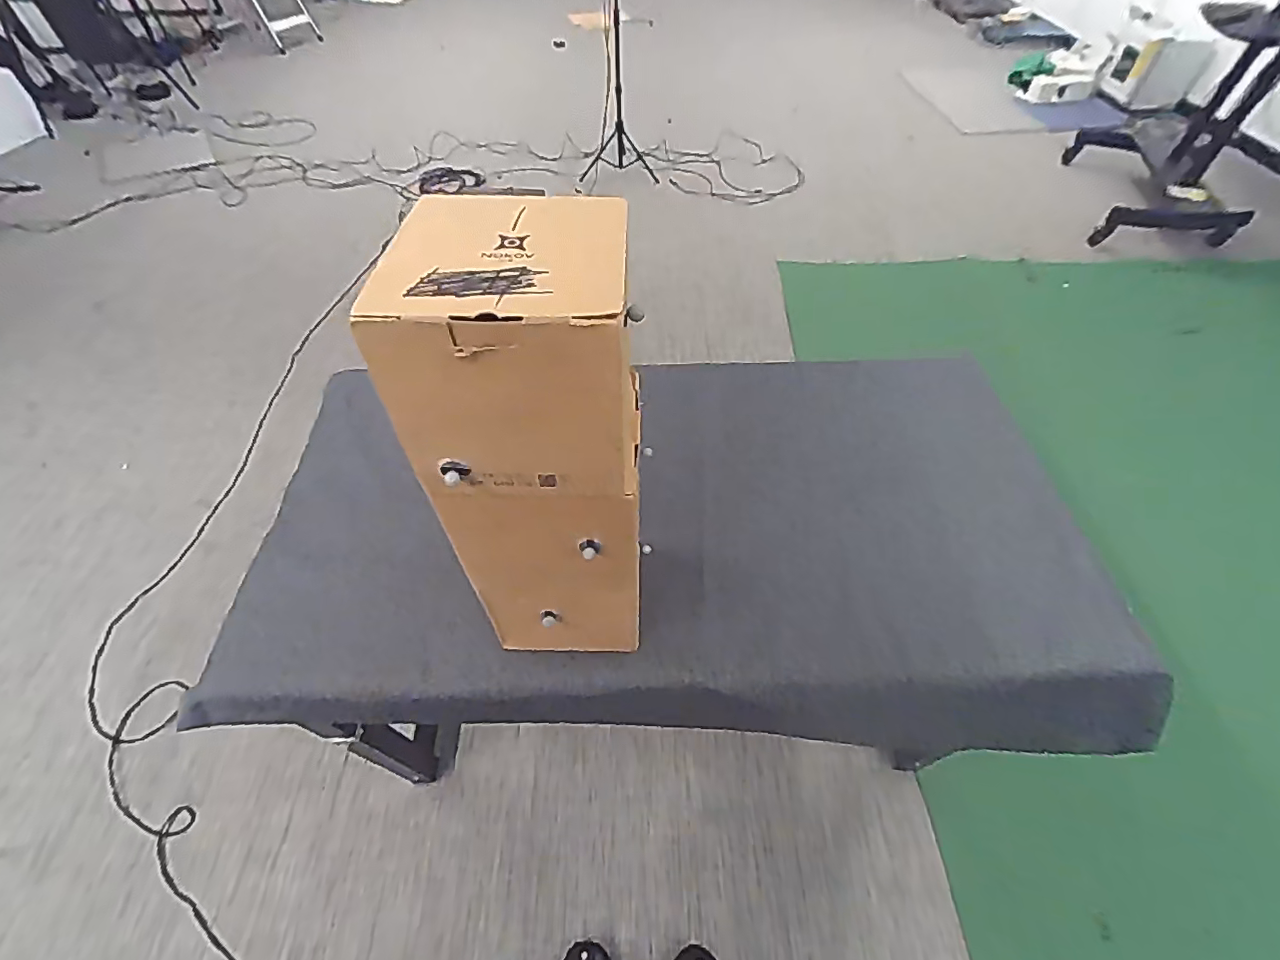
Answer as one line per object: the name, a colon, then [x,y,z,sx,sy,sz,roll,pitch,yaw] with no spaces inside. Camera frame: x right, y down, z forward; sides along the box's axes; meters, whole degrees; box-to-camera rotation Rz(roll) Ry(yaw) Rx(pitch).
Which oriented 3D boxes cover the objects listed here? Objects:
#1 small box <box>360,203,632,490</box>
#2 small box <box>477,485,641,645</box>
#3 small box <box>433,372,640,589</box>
small box: [-0.092,-0.107,0.447,0.168,0.176,0.179,1,48,0]
small box: [-0.089,0.103,0.697,0.179,0.176,0.168,1,51,1]
small box: [-0.088,0.003,0.570,0.179,0.176,0.168,0,49,1]
